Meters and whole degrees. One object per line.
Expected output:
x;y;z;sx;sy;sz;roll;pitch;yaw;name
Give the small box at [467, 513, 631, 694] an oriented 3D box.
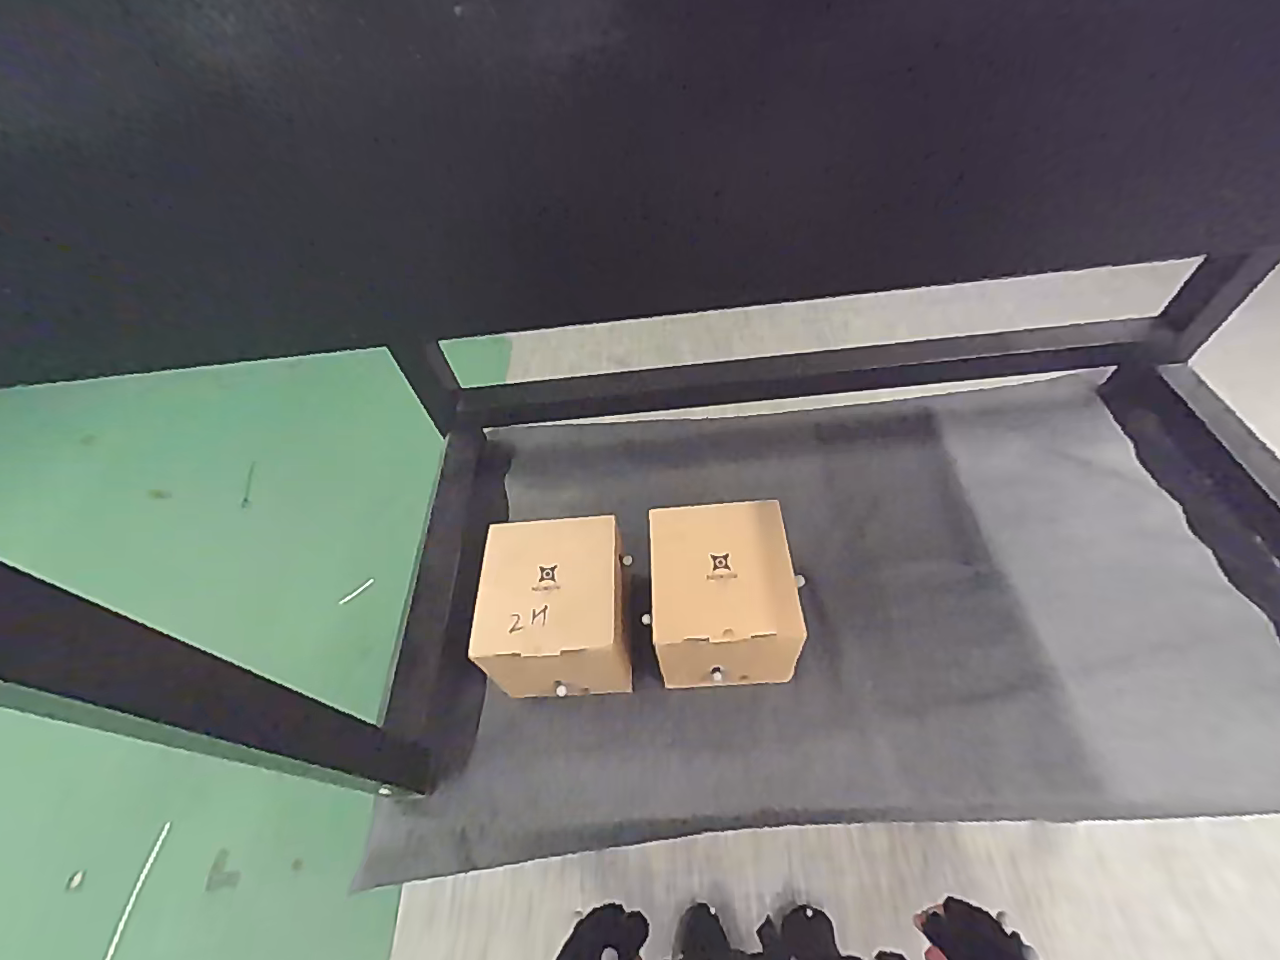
-0.104;0.164;0.707;0.168;0.176;0.179;-5;53;5;small box
